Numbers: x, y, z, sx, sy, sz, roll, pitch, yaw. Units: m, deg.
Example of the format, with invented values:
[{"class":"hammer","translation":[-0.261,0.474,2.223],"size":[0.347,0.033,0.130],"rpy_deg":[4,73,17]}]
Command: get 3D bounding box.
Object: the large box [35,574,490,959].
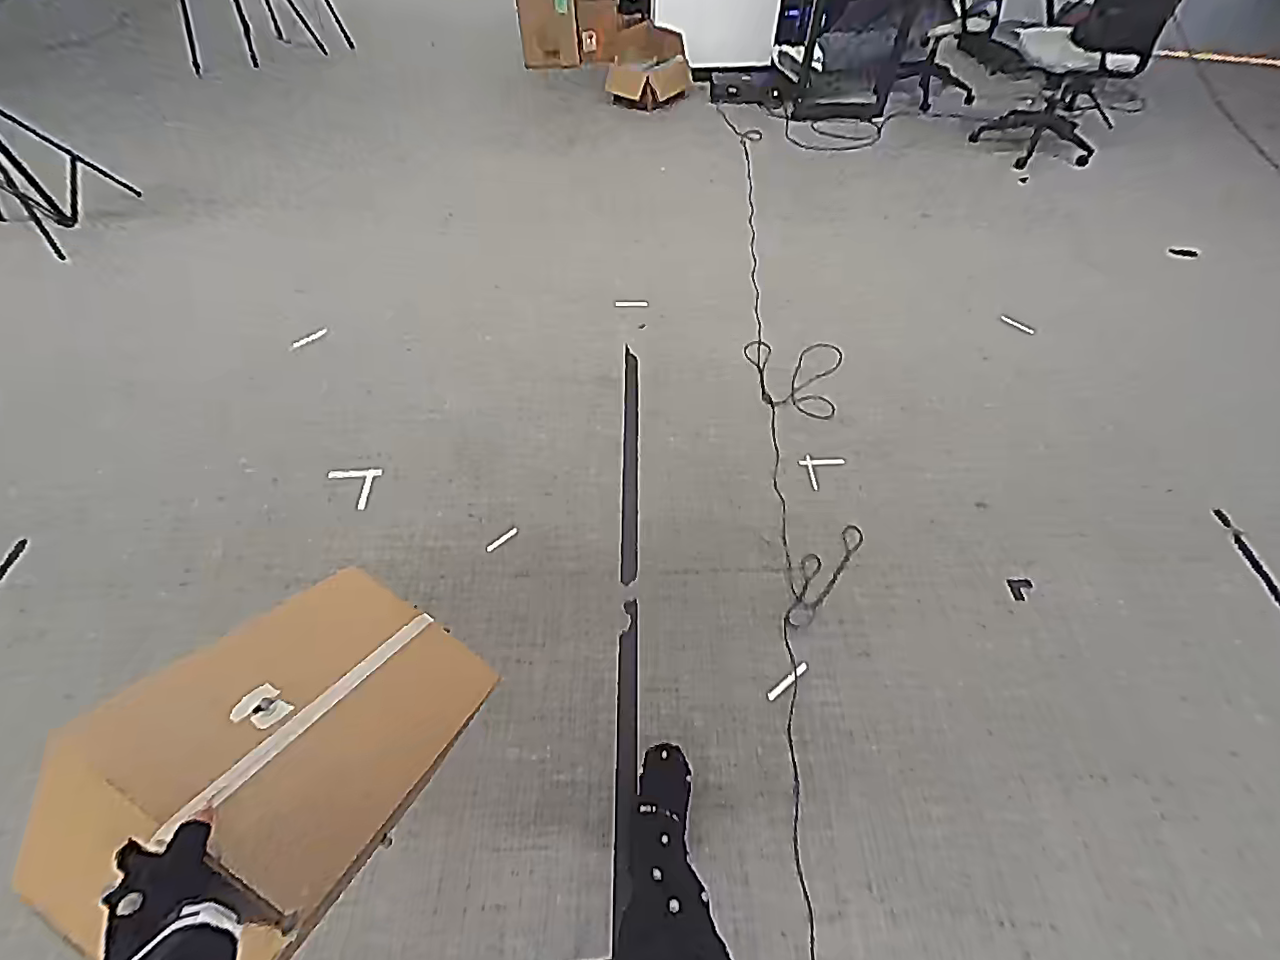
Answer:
[{"class":"large box","translation":[-0.494,0.413,0.780],"size":[0.320,0.320,0.408],"rpy_deg":[35,22,3]}]
